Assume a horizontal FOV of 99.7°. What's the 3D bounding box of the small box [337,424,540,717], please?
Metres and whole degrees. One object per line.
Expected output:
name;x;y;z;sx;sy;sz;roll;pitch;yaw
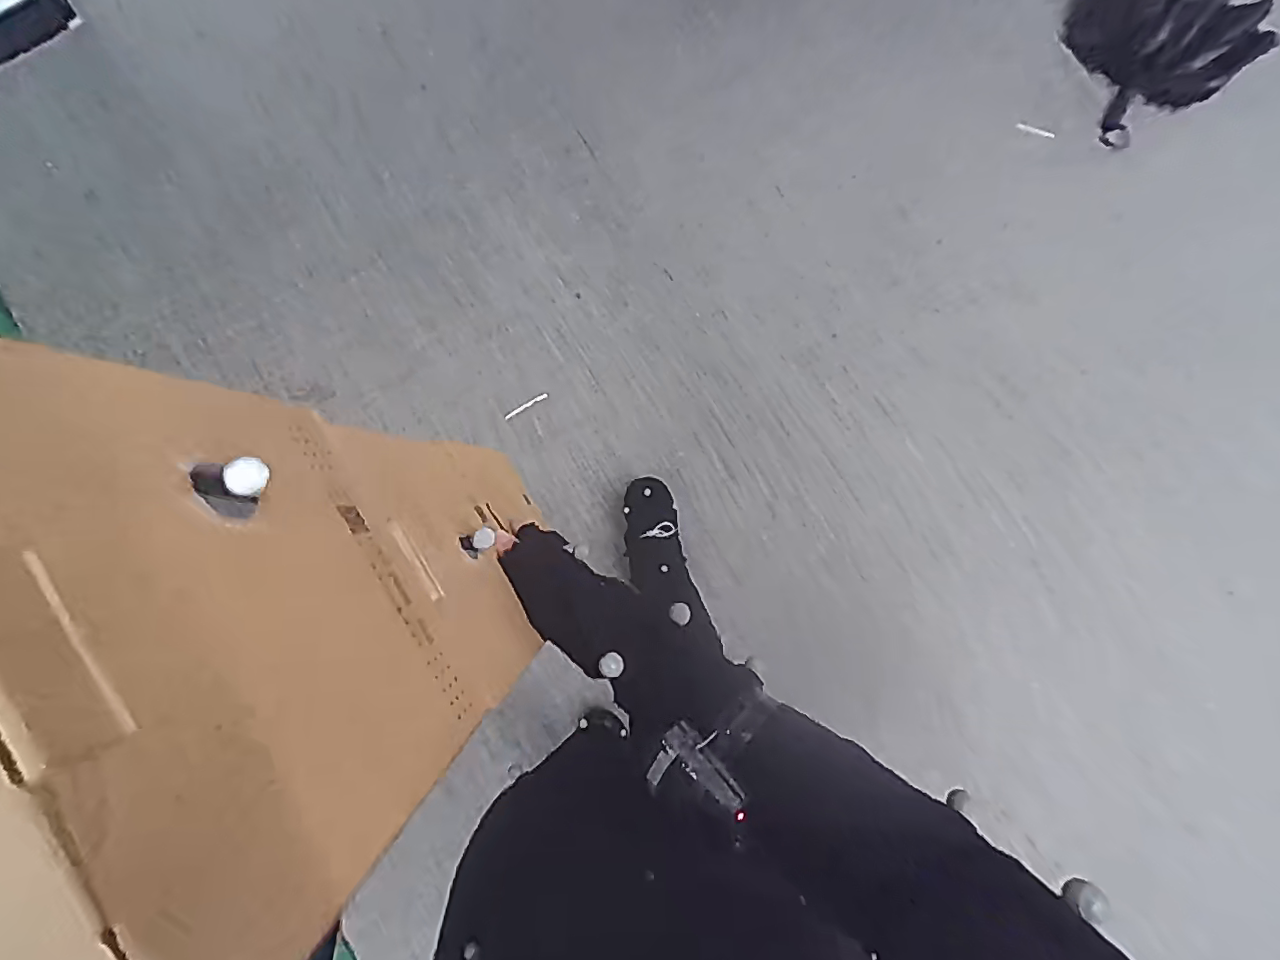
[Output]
small box;-0.181;0.083;0.354;0.179;0.176;0.168;-32;88;0

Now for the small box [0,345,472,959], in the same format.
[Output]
small box;-0.183;0.075;0.191;0.179;0.176;0.168;-33;87;1

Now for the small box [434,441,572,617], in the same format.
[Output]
small box;-0.179;0.083;0.518;0.179;0.176;0.168;-36;88;-1
